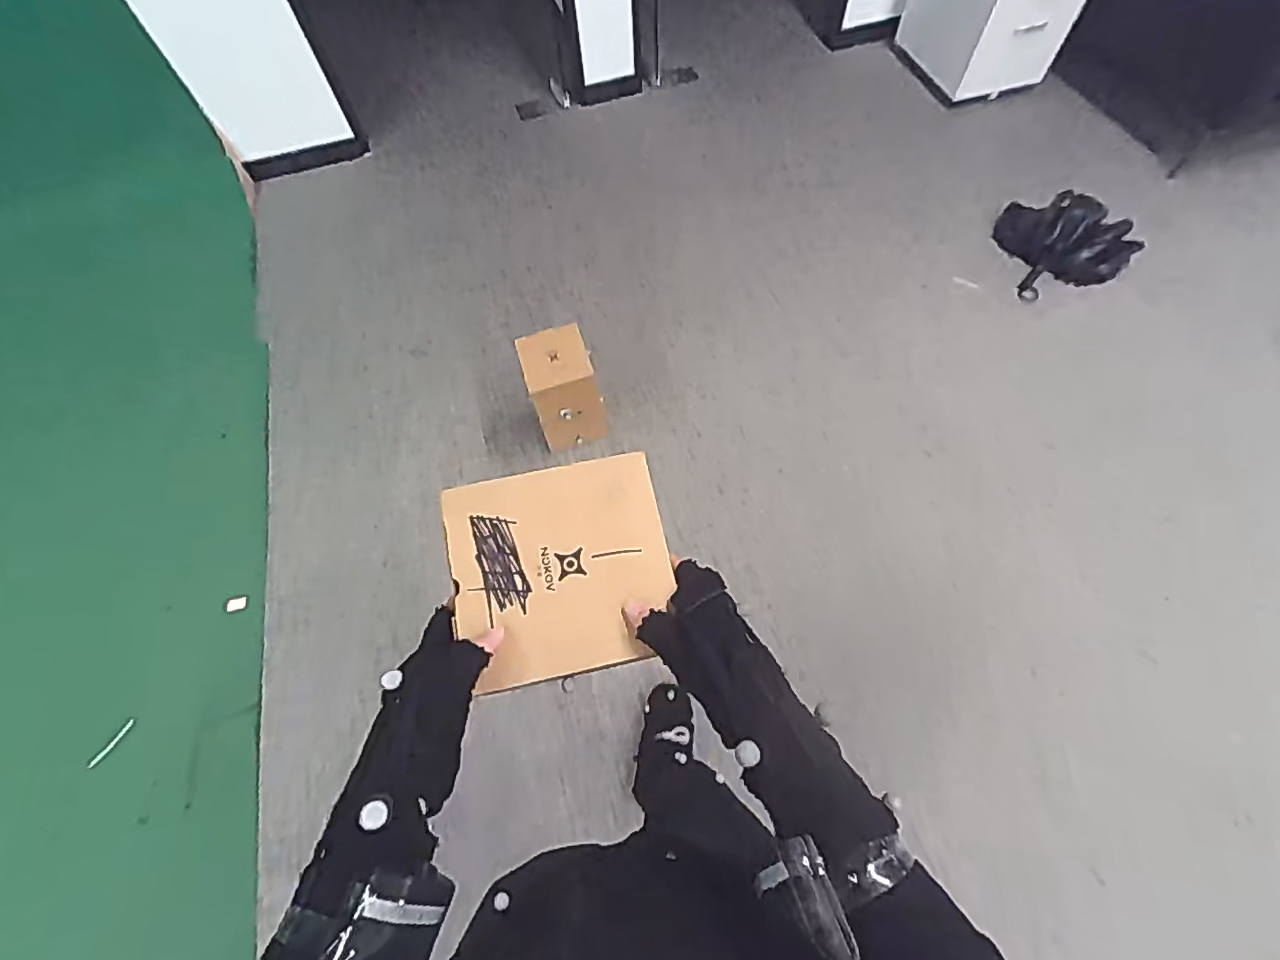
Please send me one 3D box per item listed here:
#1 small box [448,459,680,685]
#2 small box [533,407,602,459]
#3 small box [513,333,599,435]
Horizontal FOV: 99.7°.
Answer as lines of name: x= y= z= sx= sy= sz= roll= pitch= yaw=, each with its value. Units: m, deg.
small box: x=-0.069 y=0.098 z=0.526 sx=0.179 sy=0.176 sz=0.168 roll=-11 pitch=72 yaw=-6
small box: x=-0.214 y=-0.184 z=1.560 sx=0.179 sy=0.176 sz=0.168 roll=-17 pitch=63 yaw=-6
small box: x=-0.215 y=-0.246 z=1.408 sx=0.168 sy=0.176 sz=0.179 roll=-19 pitch=65 yaw=-5
